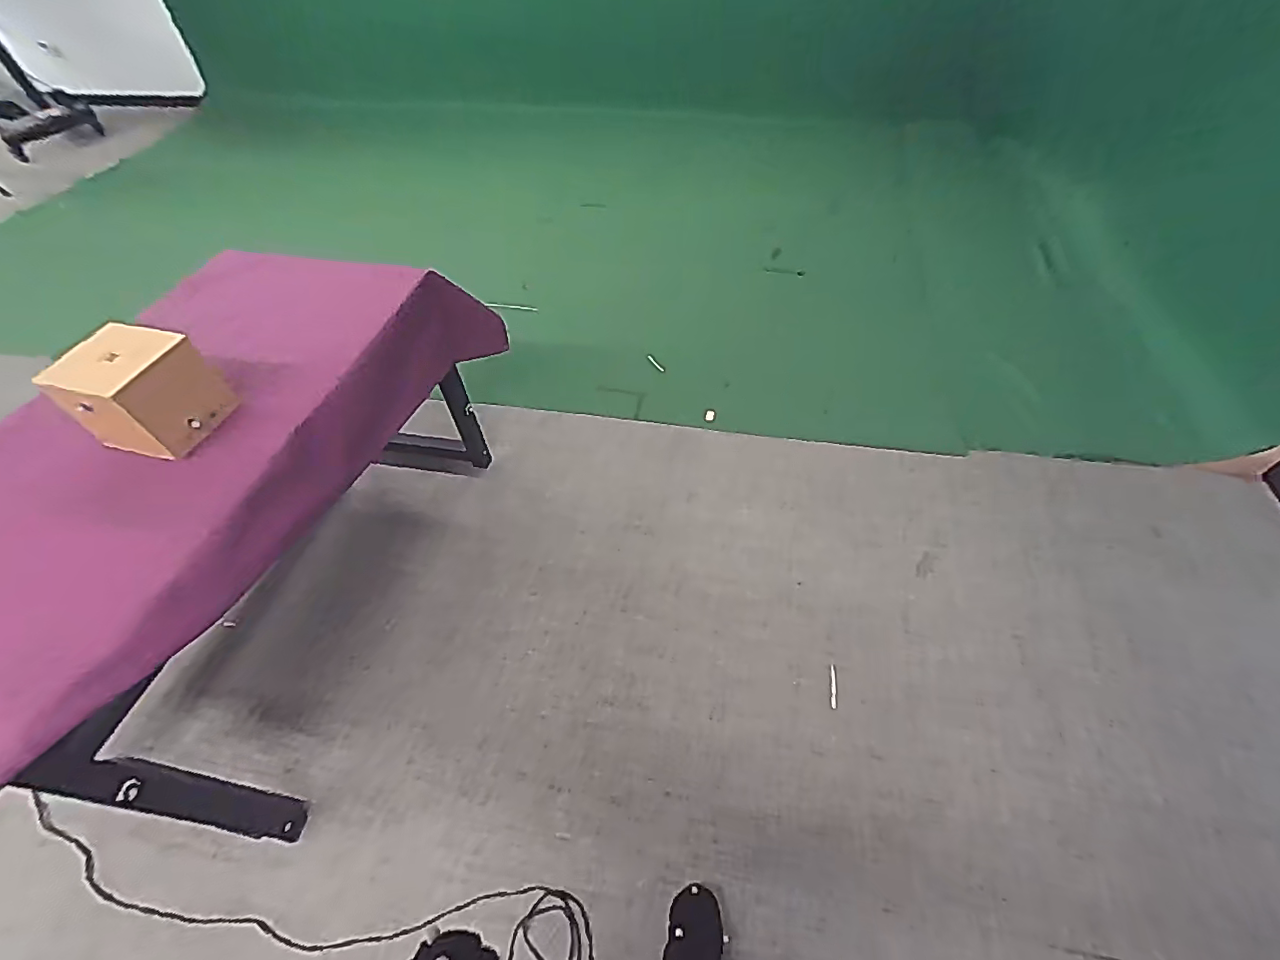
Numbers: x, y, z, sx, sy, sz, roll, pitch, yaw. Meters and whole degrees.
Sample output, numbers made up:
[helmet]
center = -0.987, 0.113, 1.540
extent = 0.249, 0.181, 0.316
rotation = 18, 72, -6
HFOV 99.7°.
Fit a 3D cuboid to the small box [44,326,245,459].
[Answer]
[small box]
center = -0.900, -0.159, 1.002
extent = 0.179, 0.176, 0.168
rotation = 12, 53, 11
